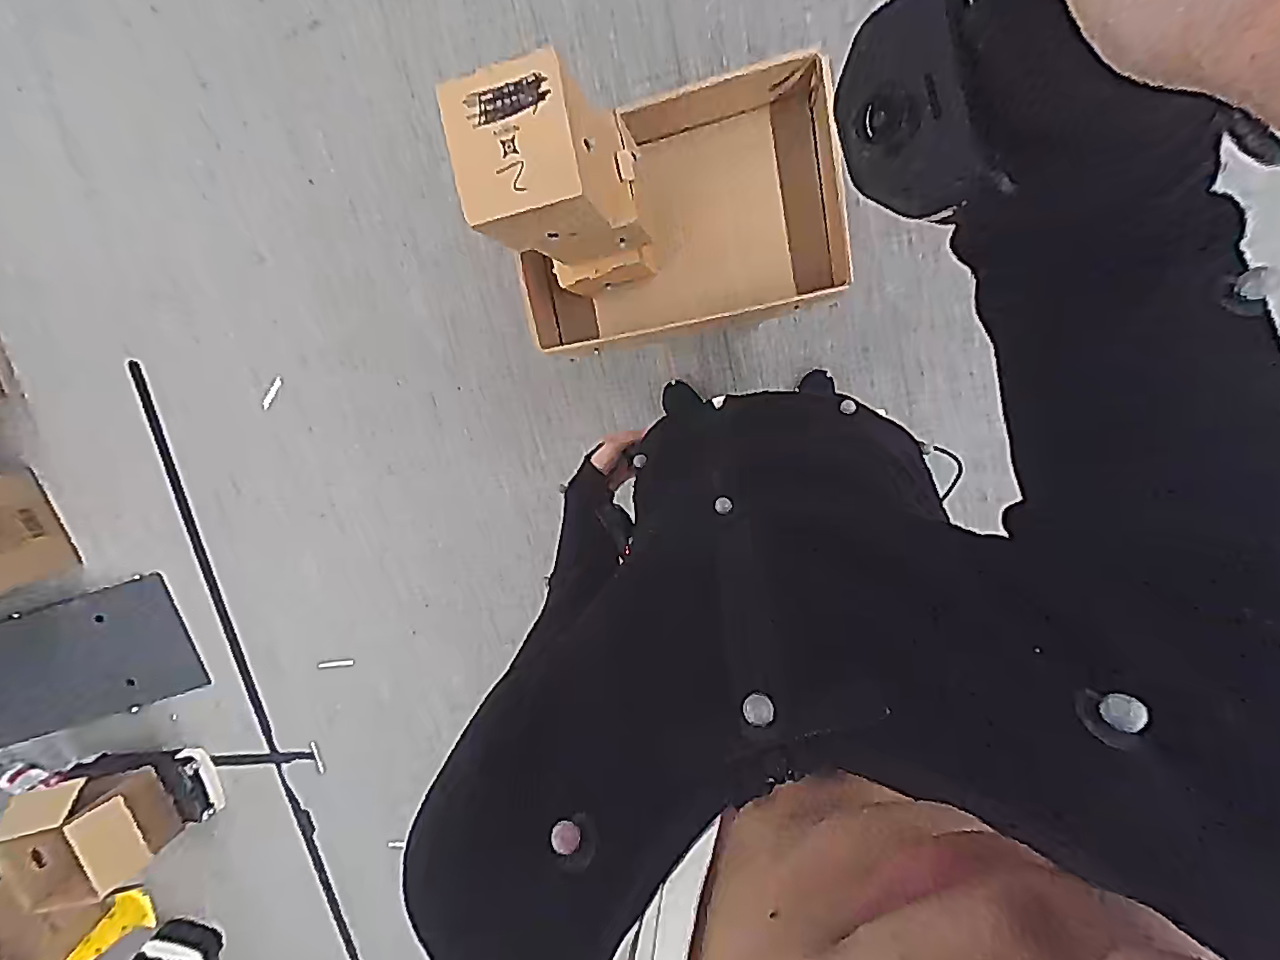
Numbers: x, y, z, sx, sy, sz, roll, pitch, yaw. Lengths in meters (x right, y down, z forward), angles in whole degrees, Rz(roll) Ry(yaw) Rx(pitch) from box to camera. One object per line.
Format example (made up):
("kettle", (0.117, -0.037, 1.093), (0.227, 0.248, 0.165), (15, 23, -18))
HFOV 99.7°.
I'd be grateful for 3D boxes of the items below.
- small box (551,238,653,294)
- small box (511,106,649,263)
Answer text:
("small box", (-0.083, -0.486, 1.071), (0.168, 0.176, 0.179), (-14, 99, 14))
("small box", (-0.087, -0.478, 0.903), (0.179, 0.176, 0.168), (-9, 100, 12))
